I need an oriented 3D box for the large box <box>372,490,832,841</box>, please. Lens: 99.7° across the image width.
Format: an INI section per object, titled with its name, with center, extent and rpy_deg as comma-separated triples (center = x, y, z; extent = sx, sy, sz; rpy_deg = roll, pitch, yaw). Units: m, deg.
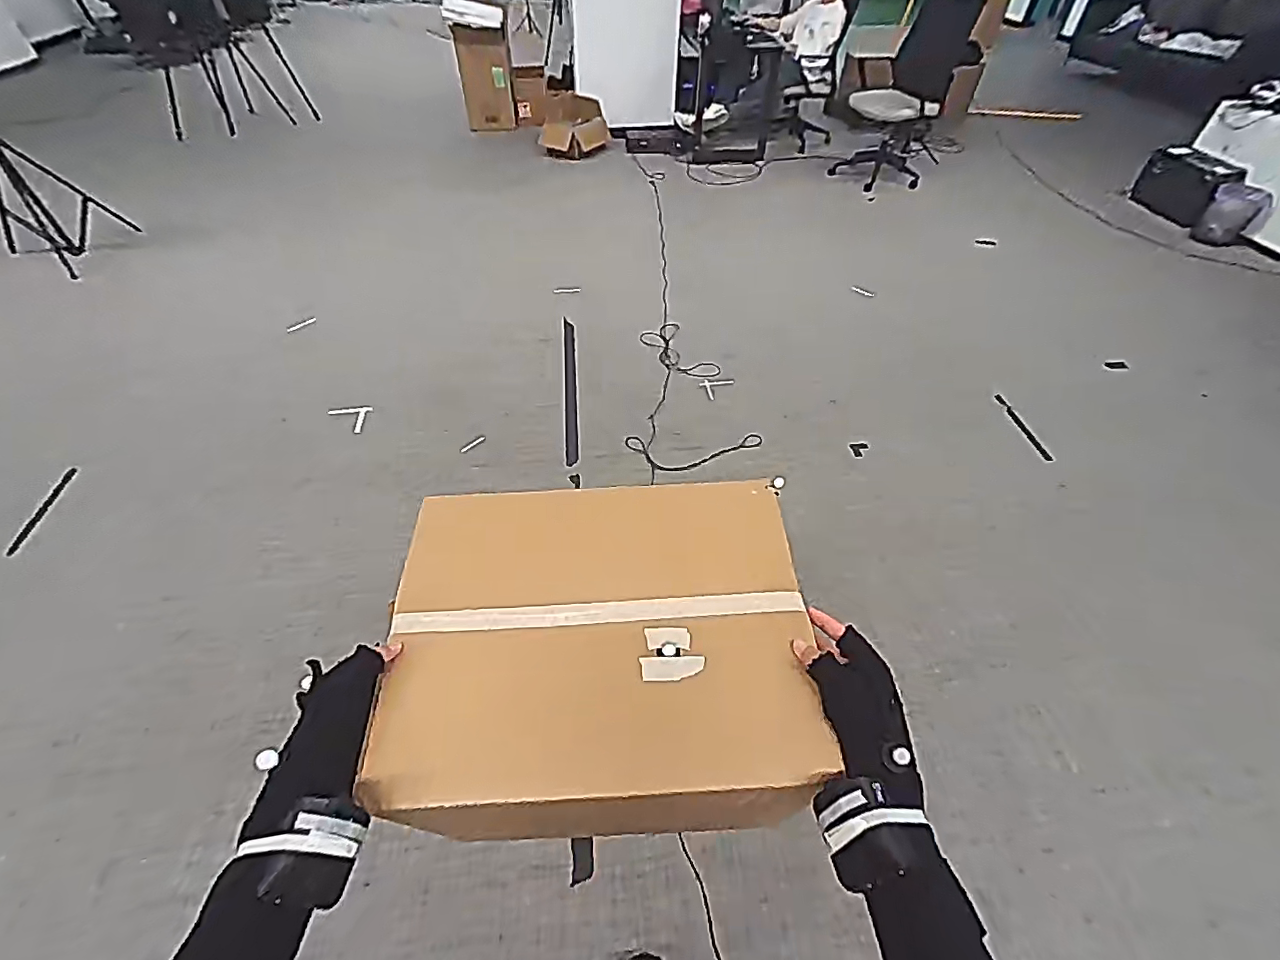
[large box]
center = -0.038, 0.234, 0.666
extent = 0.408, 0.320, 0.320
rpy_deg = -2, 52, -1
